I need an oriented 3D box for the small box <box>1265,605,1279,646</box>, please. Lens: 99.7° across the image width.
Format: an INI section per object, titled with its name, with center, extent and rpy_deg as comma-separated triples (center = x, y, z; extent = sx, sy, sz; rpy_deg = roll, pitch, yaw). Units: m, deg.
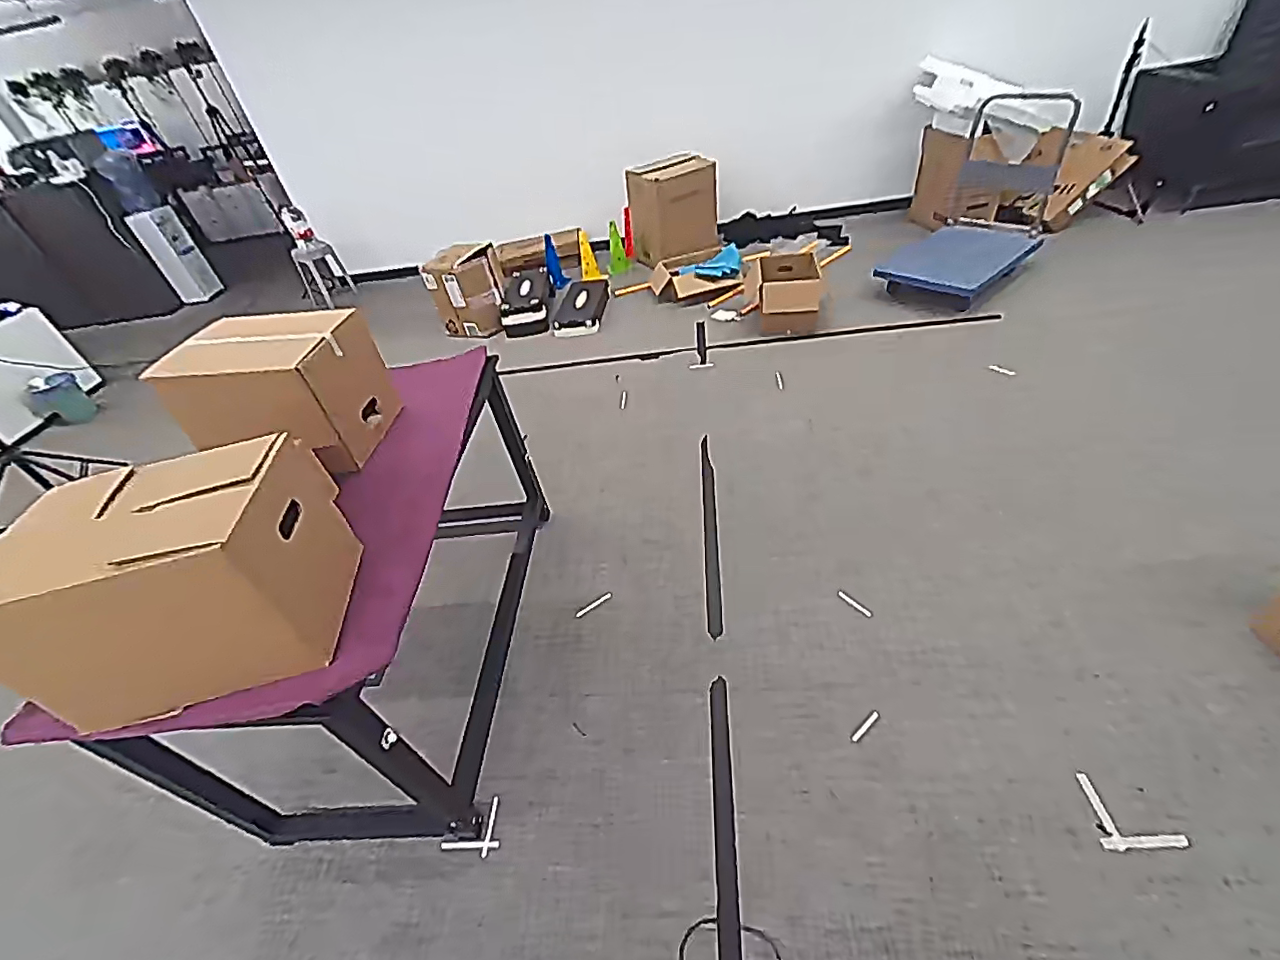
[small box]
center = 1.769, 0.386, 1.369
extent = 0.179, 0.176, 0.168
rpy_deg = -7, 41, 4
